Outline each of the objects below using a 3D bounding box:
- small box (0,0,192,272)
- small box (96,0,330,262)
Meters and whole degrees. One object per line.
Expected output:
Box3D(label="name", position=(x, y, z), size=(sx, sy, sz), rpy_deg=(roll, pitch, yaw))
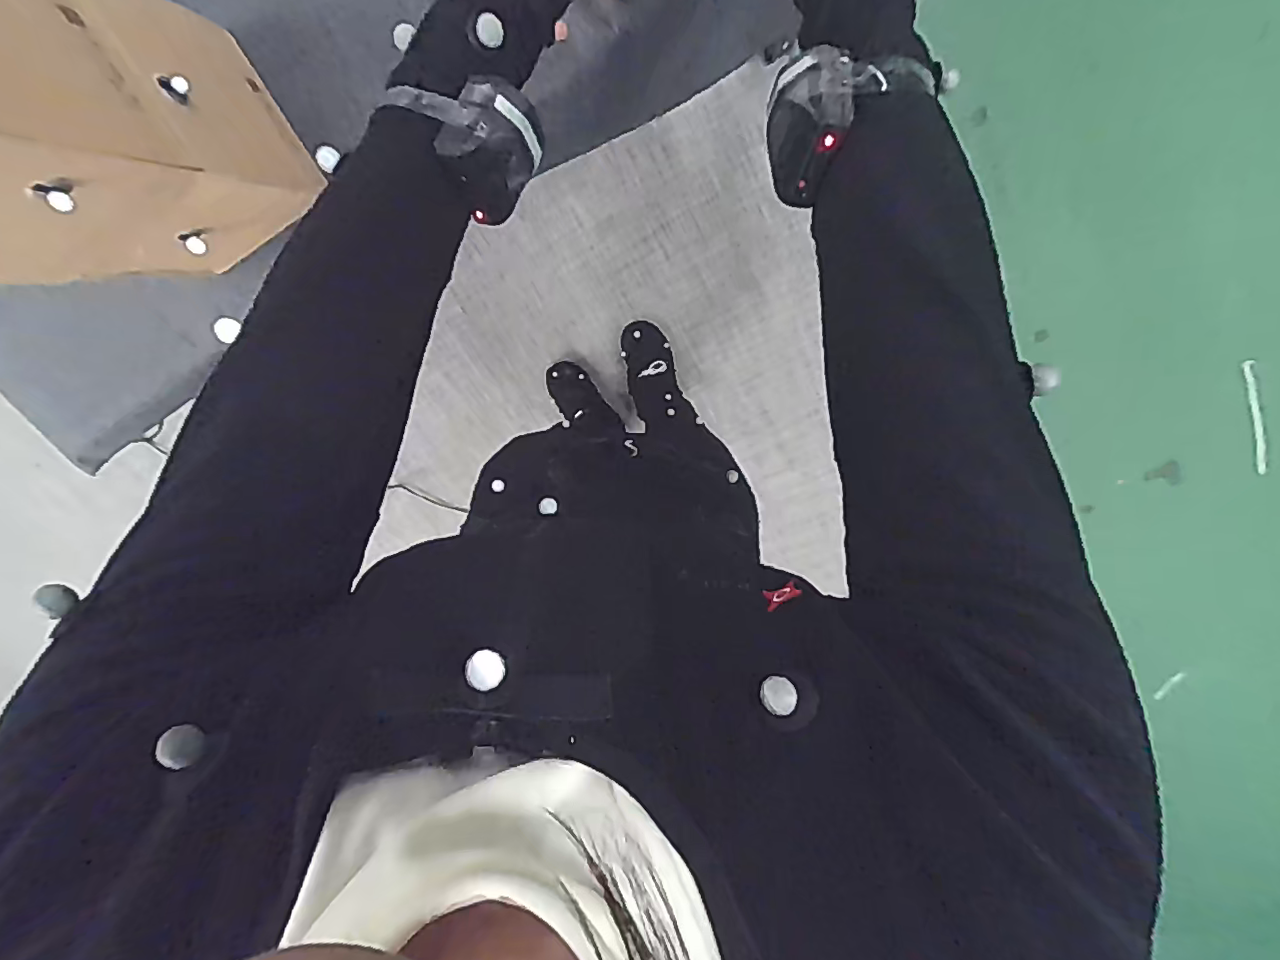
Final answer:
Box3D(label="small box", position=(-0.455, -0.253, 0.353), size=(0.179, 0.176, 0.168), rpy_deg=(-25, 106, 15))
Box3D(label="small box", position=(-0.442, -0.316, 0.502), size=(0.179, 0.176, 0.168), rpy_deg=(-24, 108, 14))
